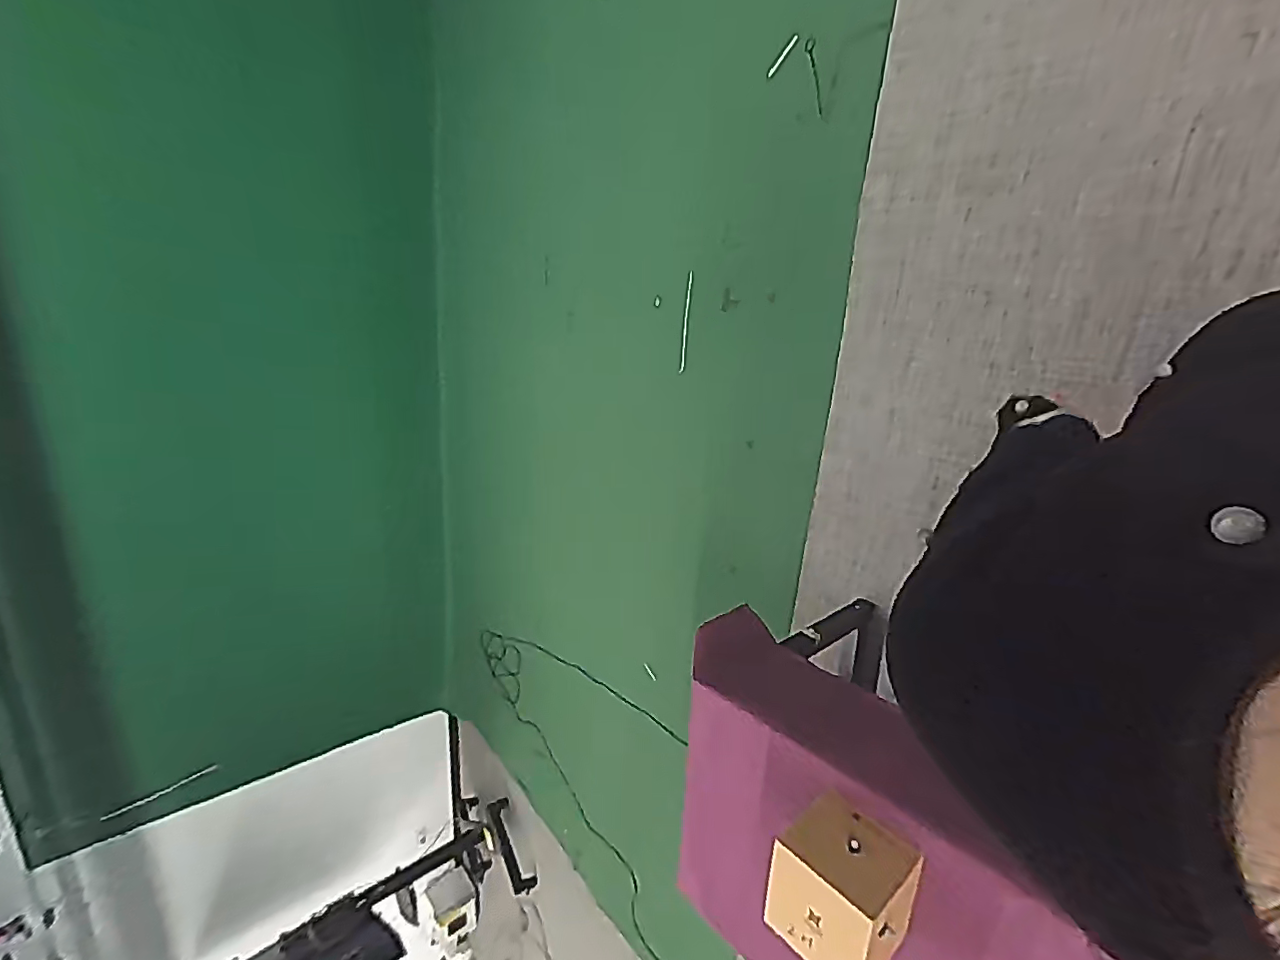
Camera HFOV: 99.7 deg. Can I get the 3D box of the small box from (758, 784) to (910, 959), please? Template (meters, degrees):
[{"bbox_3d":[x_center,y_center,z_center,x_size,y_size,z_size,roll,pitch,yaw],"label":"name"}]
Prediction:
[{"bbox_3d":[0.321,0.651,0.893,0.168,0.176,0.179,21,113,46],"label":"small box"}]
